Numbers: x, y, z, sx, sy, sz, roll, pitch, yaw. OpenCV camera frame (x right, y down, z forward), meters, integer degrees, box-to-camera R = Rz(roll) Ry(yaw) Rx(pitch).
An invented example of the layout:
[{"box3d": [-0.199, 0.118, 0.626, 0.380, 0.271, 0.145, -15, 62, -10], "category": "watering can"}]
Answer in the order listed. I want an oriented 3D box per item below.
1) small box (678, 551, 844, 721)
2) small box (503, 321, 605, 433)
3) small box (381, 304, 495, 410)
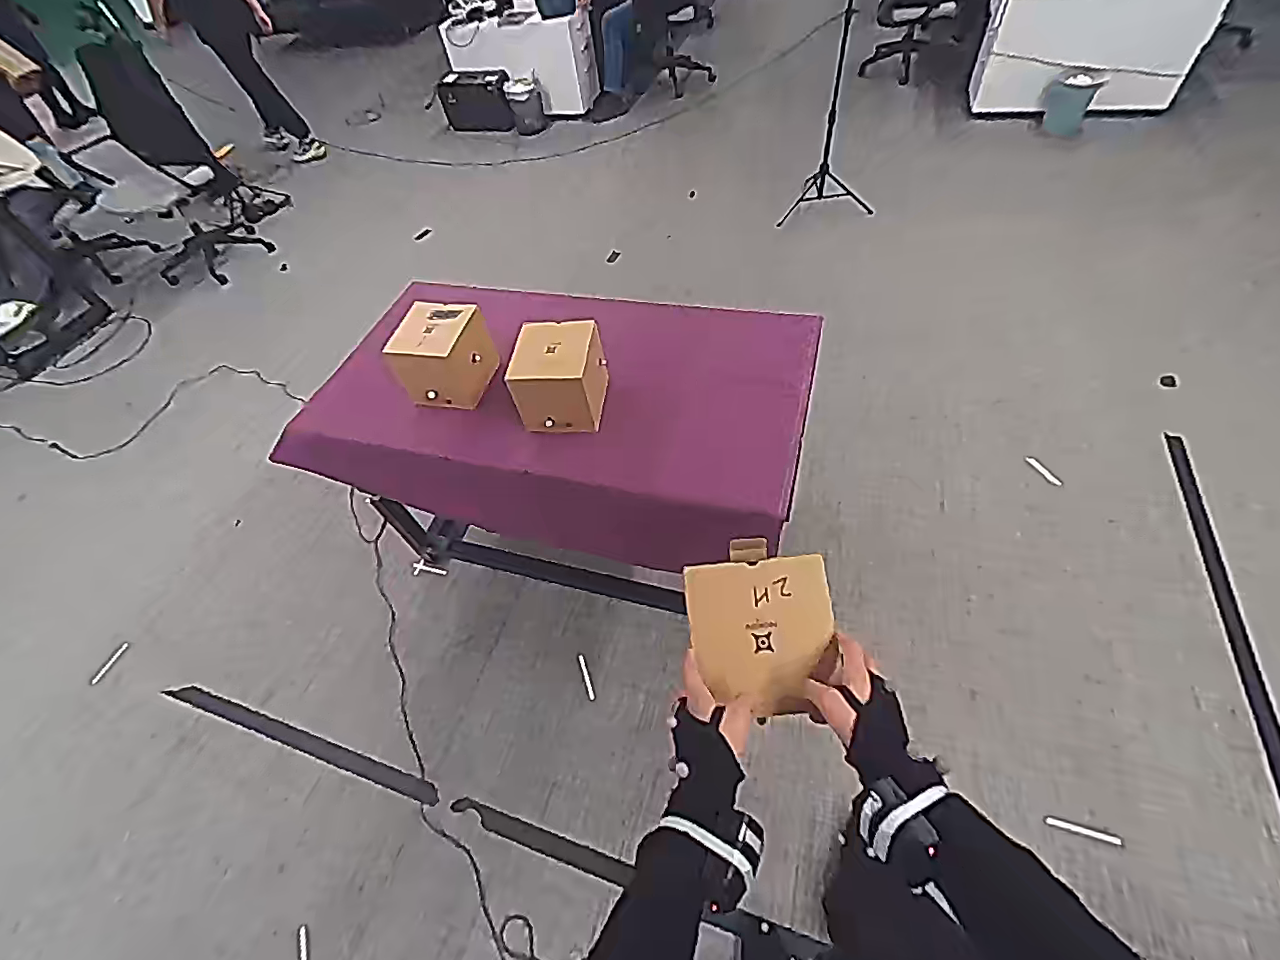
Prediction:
[{"box3d": [0.142, 0.199, 0.689, 0.168, 0.176, 0.179, -7, 70, 3], "category": "small box"}, {"box3d": [-0.178, -0.224, 1.184, 0.168, 0.176, 0.179, 1, 54, 10], "category": "small box"}, {"box3d": [-0.463, -0.290, 1.274, 0.168, 0.176, 0.179, 6, 56, 13], "category": "small box"}]
